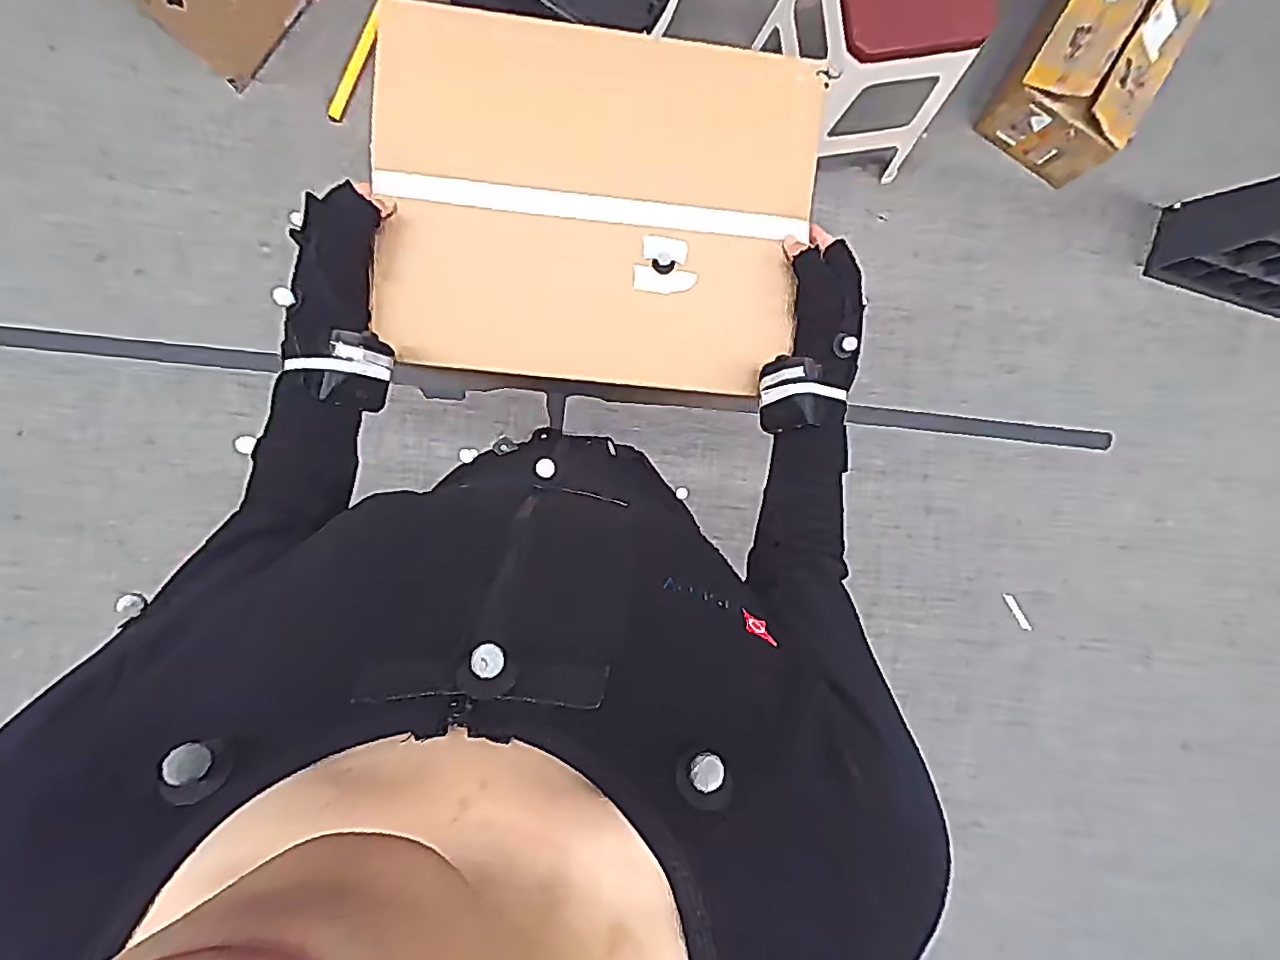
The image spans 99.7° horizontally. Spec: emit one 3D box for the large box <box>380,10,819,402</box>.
[{"bbox_3d":[-0.050,-0.270,0.658,0.408,0.320,0.320,5,96,-5],"label":"large box"}]
